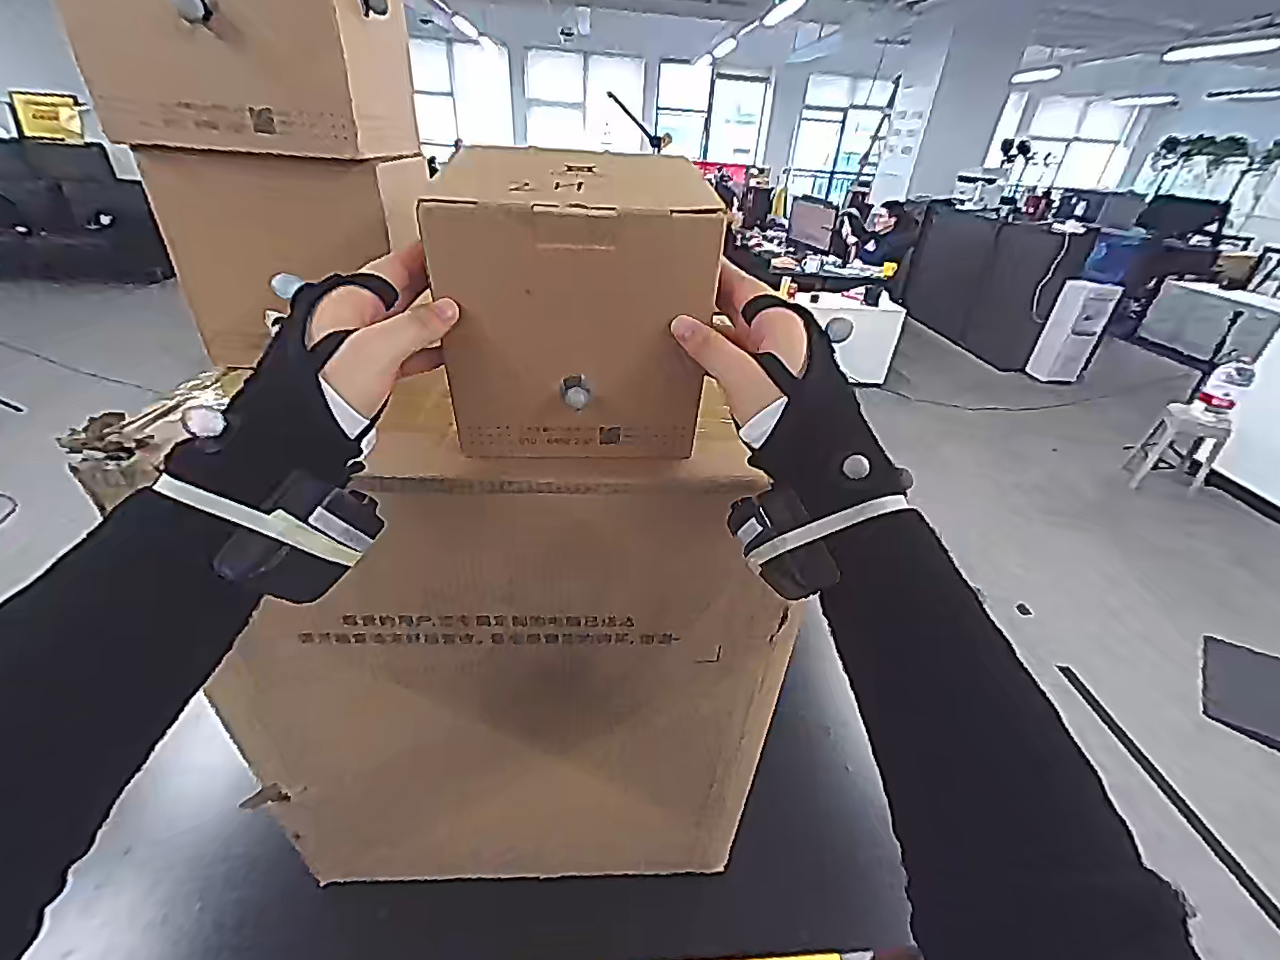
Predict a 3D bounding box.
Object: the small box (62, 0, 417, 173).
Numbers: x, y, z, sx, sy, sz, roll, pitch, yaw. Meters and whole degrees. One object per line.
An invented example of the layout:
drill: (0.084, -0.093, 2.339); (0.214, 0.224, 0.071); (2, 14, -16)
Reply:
small box: (-0.280, -0.333, 0.405); (0.168, 0.176, 0.179); (0, 33, -7)

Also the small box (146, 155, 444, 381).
small box: (-0.288, -0.203, 0.506); (0.168, 0.176, 0.179); (-2, 33, -8)

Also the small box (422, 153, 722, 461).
small box: (-0.045, -0.132, 0.406); (0.168, 0.176, 0.179); (-1, 39, -5)
